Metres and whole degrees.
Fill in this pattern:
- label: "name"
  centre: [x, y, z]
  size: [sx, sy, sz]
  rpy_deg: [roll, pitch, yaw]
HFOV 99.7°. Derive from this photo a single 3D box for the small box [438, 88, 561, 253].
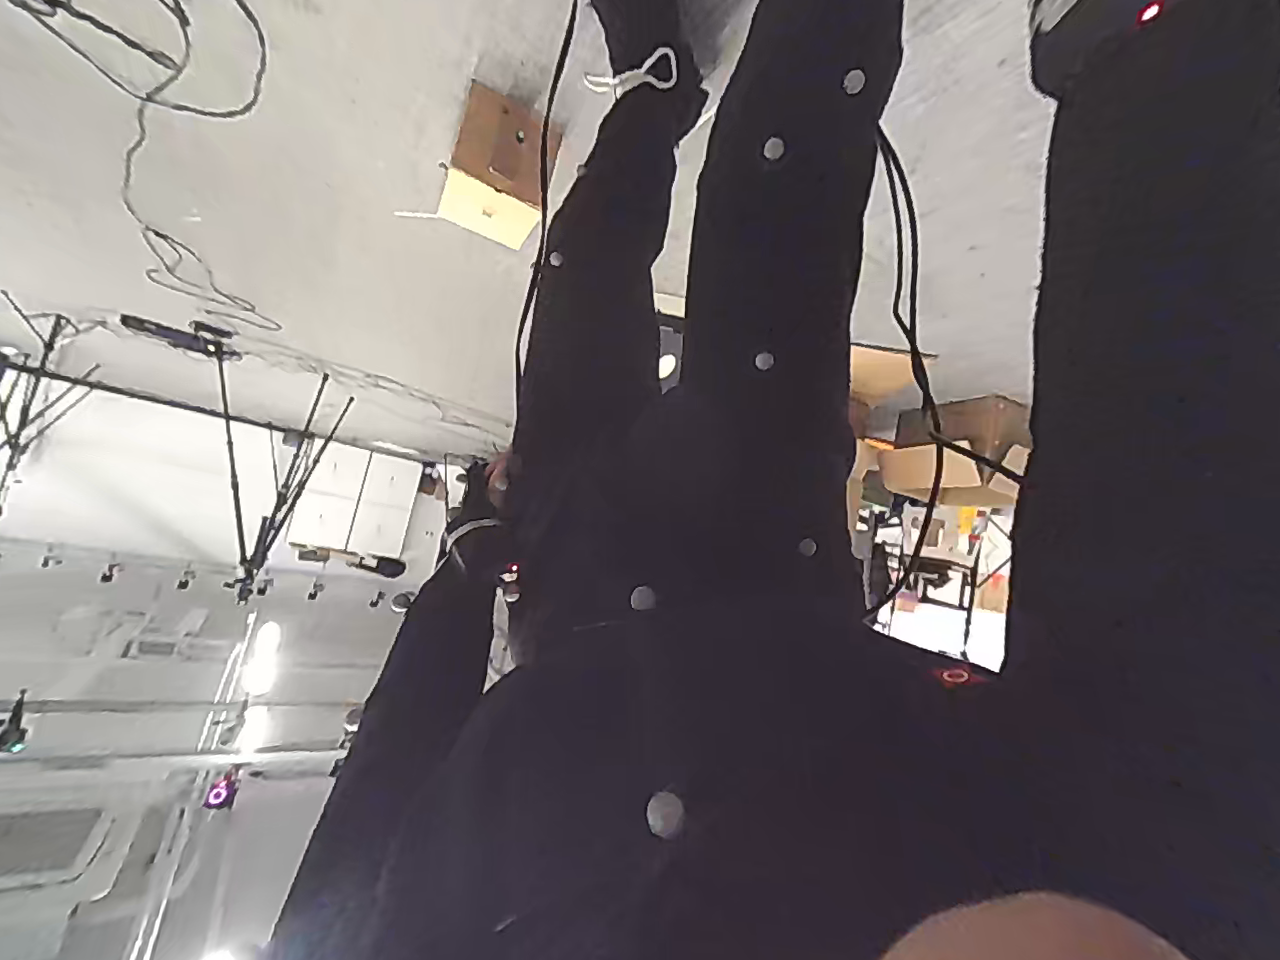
- label: "small box"
  centre: [-0.263, -0.569, 1.013]
  size: [0.168, 0.176, 0.179]
  rpy_deg: [16, 171, -26]
